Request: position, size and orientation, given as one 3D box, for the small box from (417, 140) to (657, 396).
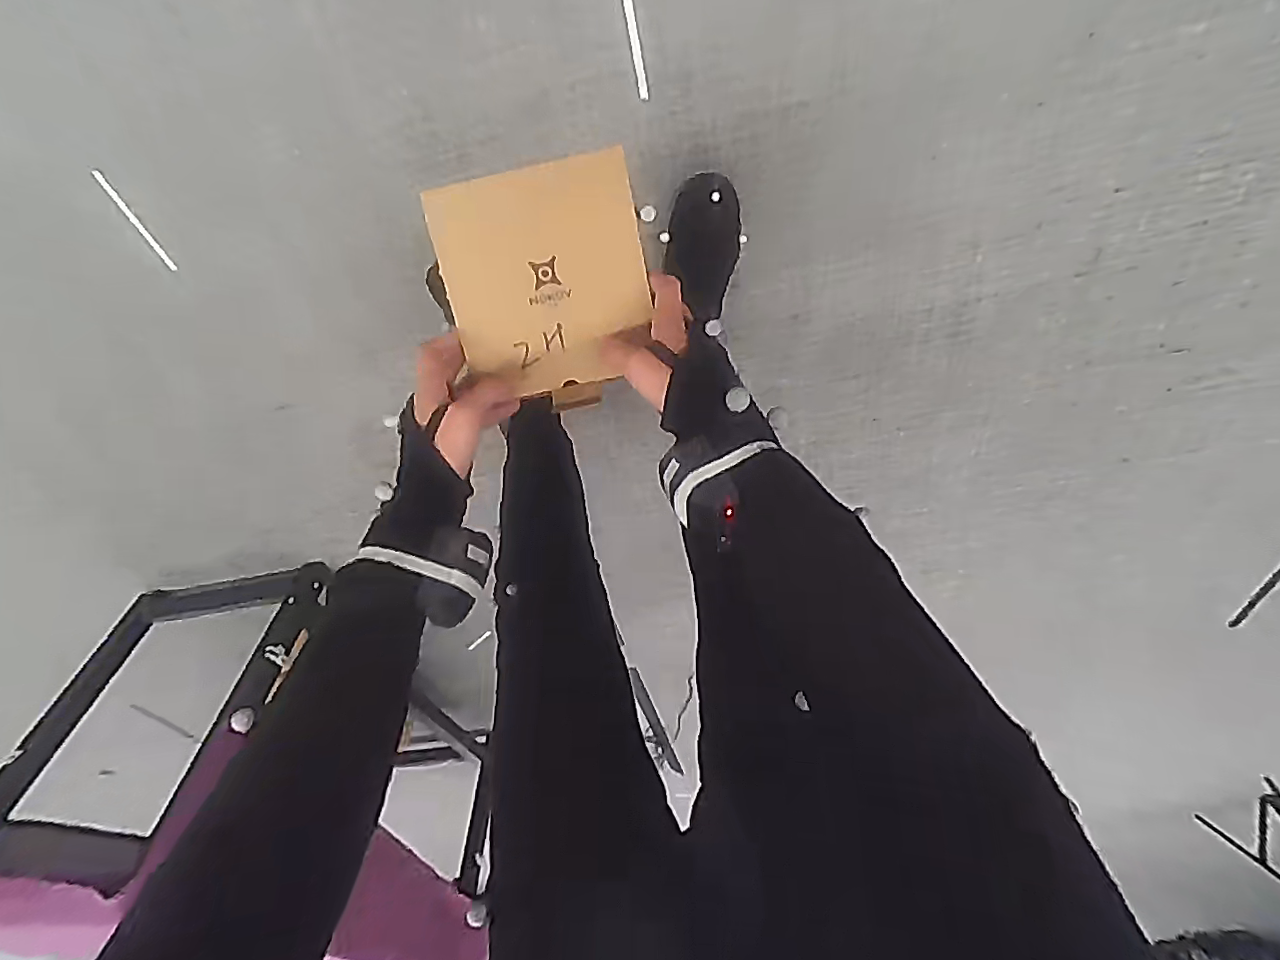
[{"bbox_3d":[-0.080,-0.192,0.516,0.168,0.176,0.179,-9,110,4],"label":"small box"}]
